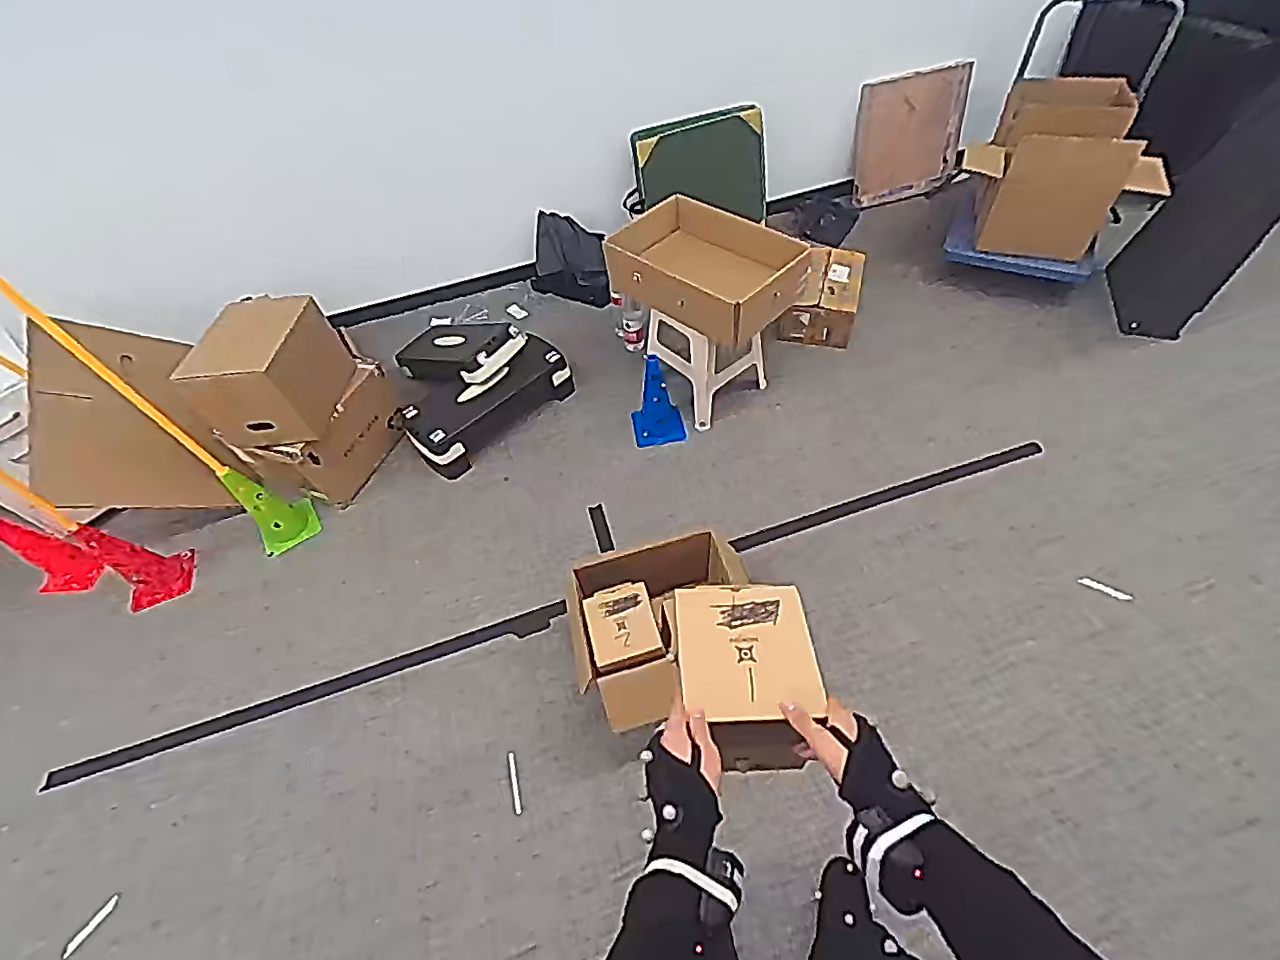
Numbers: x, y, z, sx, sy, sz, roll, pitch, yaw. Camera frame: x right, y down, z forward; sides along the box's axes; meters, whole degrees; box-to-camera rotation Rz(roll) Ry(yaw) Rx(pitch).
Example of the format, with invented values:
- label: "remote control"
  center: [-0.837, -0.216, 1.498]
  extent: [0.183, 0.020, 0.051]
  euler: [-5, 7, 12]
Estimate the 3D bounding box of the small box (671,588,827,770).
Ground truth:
- label: "small box"
  center: [0.129, 0.265, 0.723]
  extent: [0.168, 0.176, 0.179]
  euler: [-2, 44, 0]
